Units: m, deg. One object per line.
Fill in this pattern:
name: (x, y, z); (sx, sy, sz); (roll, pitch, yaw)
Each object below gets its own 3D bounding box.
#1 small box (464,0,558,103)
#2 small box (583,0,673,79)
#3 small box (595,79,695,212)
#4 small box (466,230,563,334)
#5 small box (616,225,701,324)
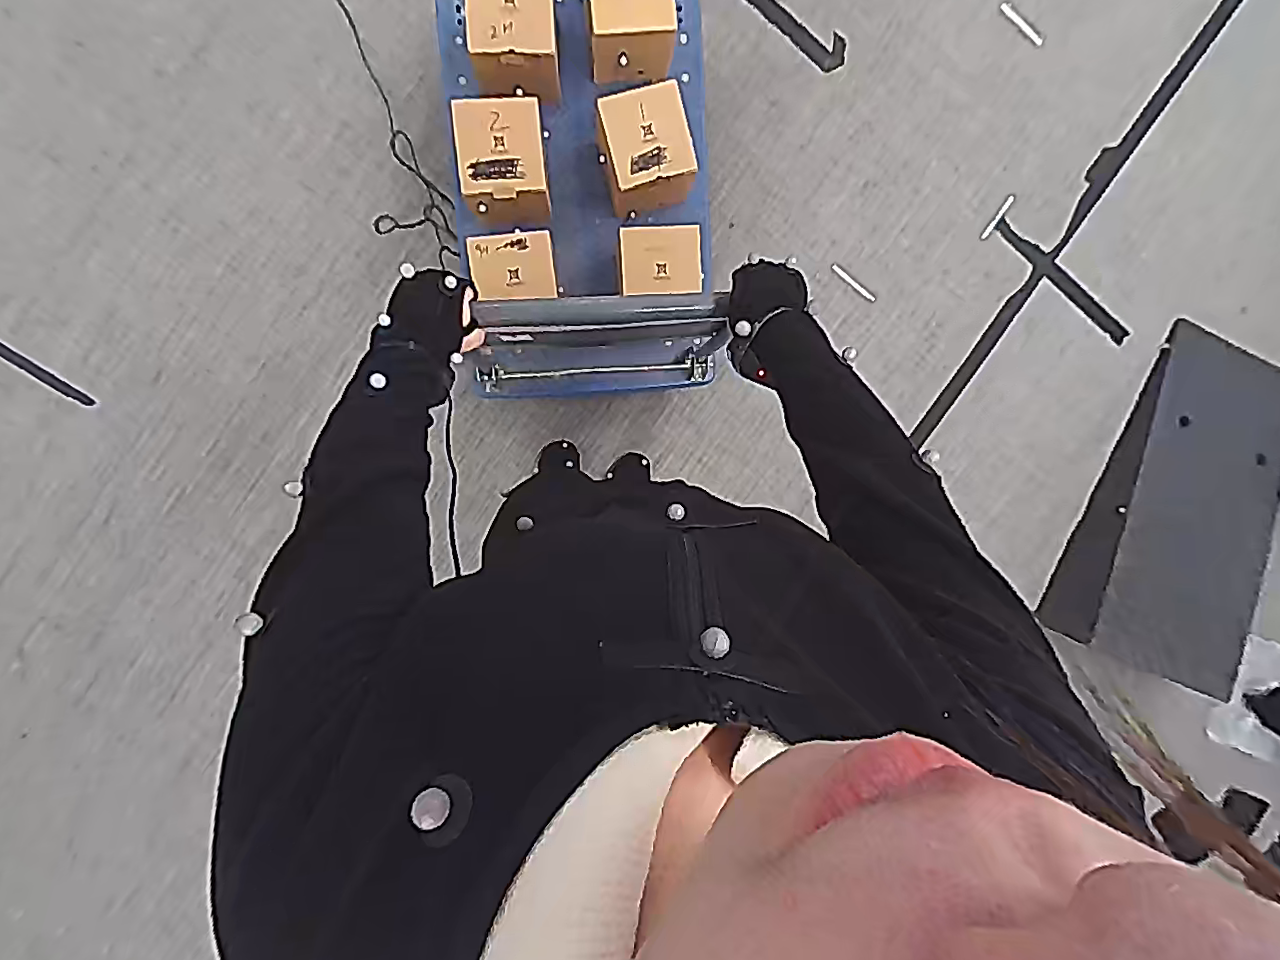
small box: (-0.257, -0.908, 1.096); (0.168, 0.176, 0.179); (-3, 98, -5)
small box: (-0.028, -0.962, 1.112); (0.168, 0.176, 0.179); (-7, 98, -4)
small box: (0.006, -0.694, 1.149); (0.168, 0.176, 0.179); (-16, 97, -3)
small box: (-0.260, -0.413, 1.158); (0.168, 0.176, 0.179); (-8, 98, -5)
small box: (0.037, -0.441, 1.184); (0.168, 0.176, 0.179); (-4, 97, -5)
